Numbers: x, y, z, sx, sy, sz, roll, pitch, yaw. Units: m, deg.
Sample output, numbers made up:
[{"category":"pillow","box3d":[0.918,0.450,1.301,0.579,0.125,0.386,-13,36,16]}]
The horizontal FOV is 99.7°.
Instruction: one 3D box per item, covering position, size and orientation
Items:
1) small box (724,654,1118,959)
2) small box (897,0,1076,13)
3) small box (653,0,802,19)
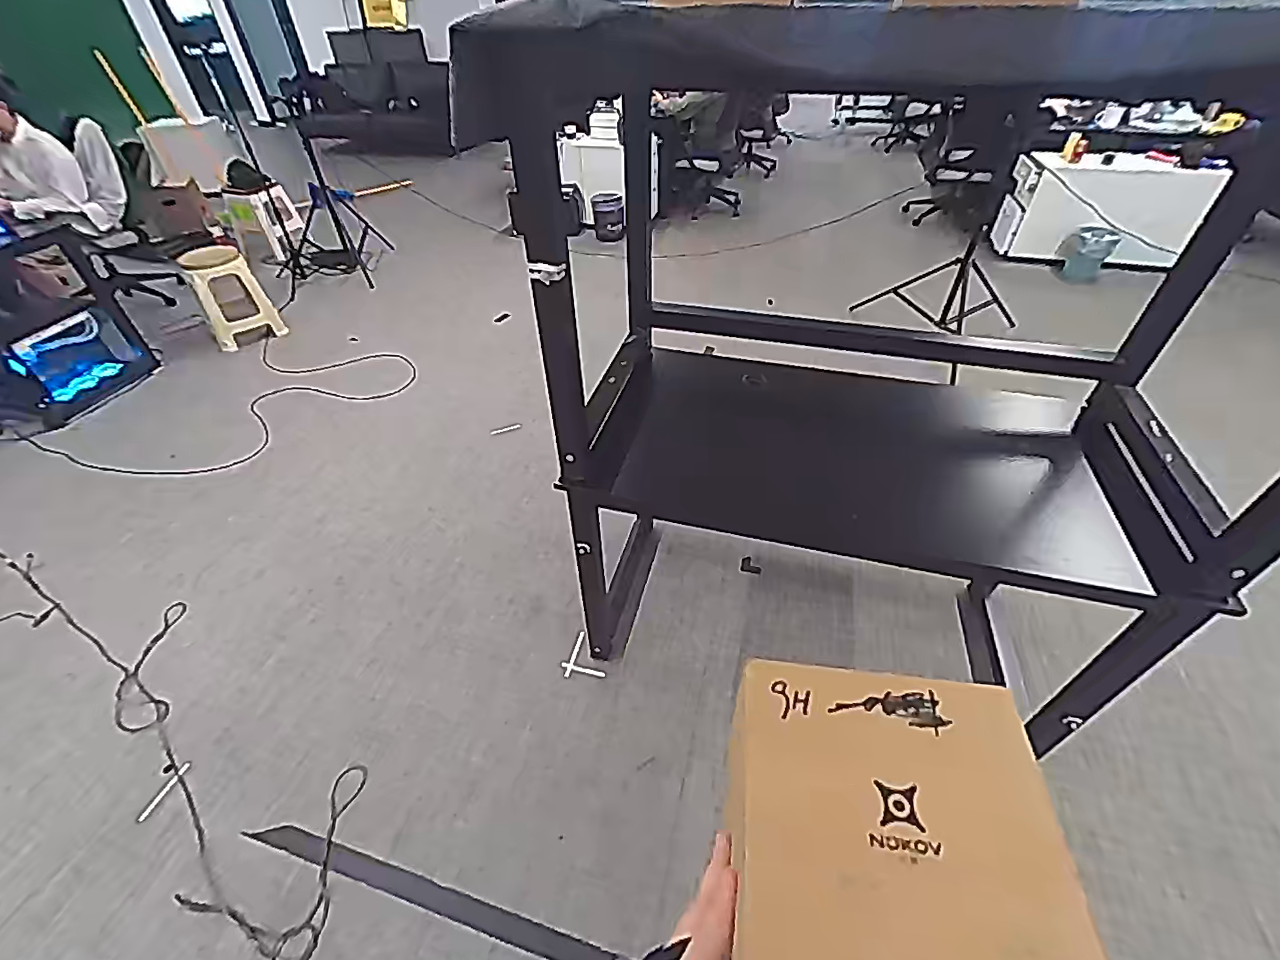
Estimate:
[{"category":"small box","box3d":[0.144,0.238,0.339,0.168,0.176,0.179,5,44,7]},{"category":"small box","box3d":[0.374,-0.592,0.551,0.168,0.176,0.179,10,42,12]},{"category":"small box","box3d":[0.111,-0.637,0.610,0.168,0.176,0.179,10,42,11]}]
